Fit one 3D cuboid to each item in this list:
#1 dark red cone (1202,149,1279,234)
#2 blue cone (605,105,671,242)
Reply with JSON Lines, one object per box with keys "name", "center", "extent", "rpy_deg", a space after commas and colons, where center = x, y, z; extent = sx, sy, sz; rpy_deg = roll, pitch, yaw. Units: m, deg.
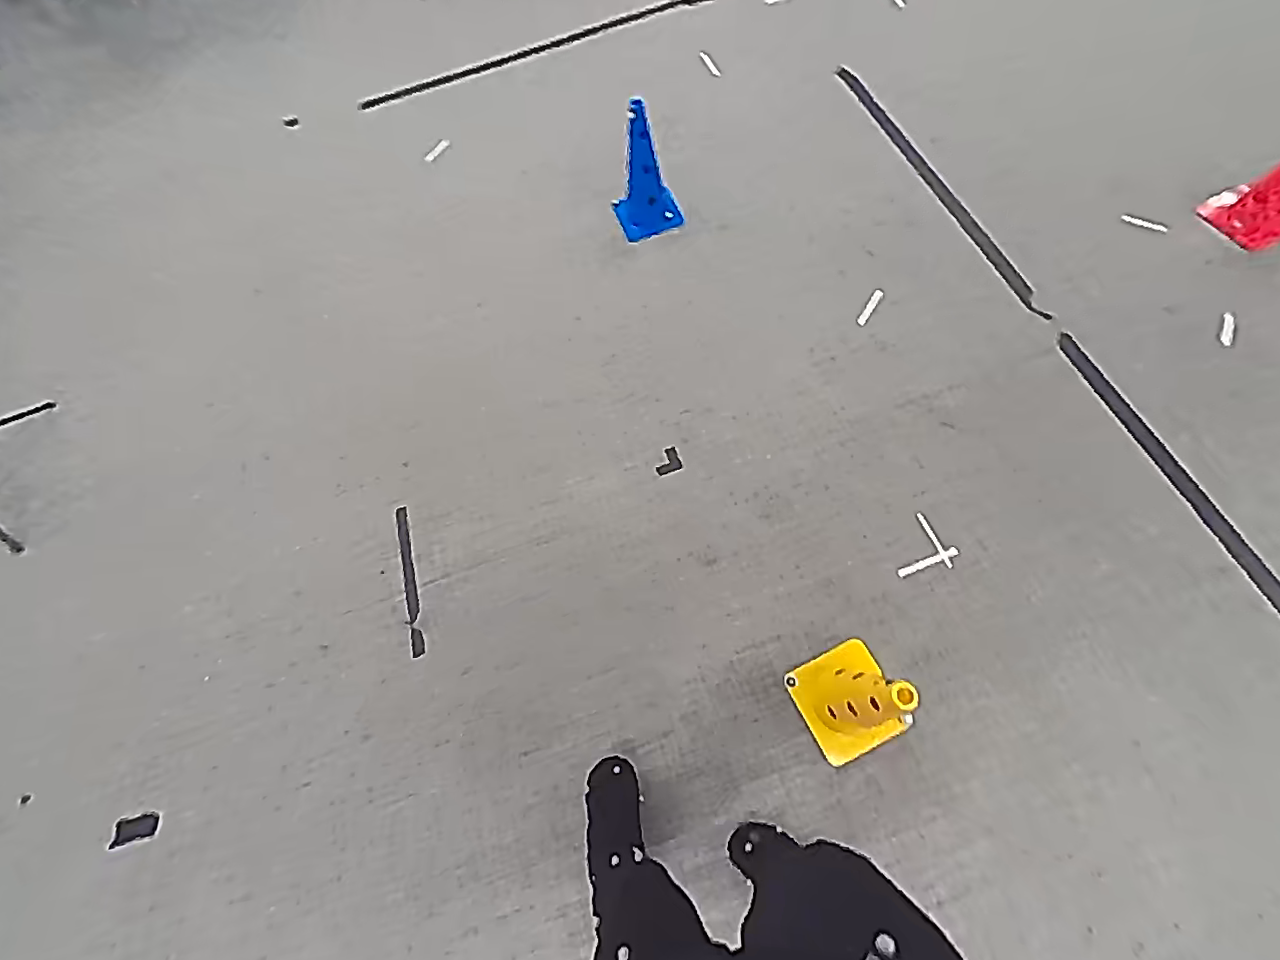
{"name": "dark red cone", "center": [1.716, -0.851, 1.376], "extent": [0.201, 0.394, 0.202], "rpy_deg": [-28, 67, -5]}
{"name": "blue cone", "center": [-0.023, -0.937, 1.634], "extent": [0.192, 0.380, 0.193], "rpy_deg": [-20, 66, -1]}
